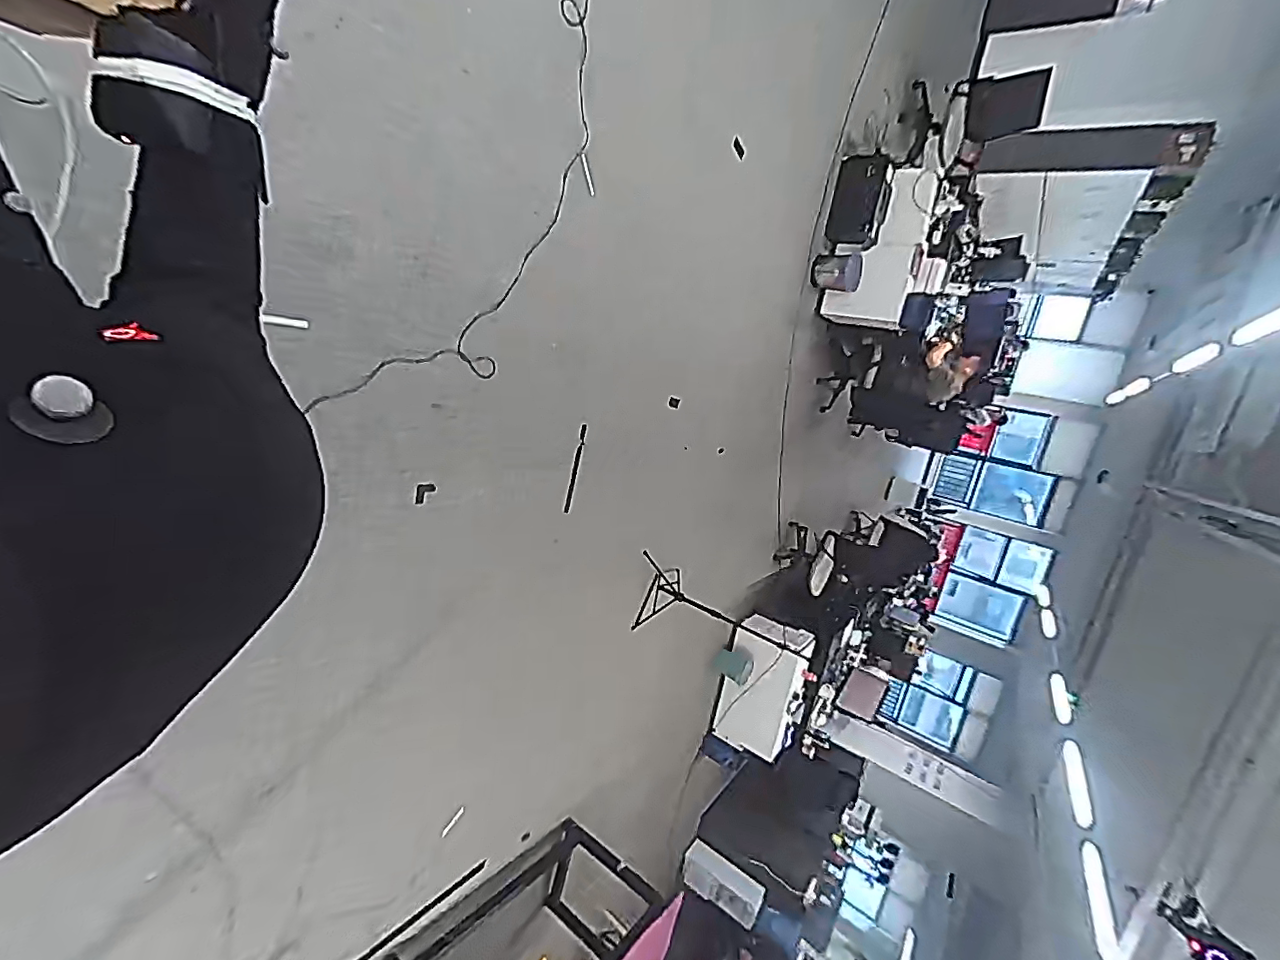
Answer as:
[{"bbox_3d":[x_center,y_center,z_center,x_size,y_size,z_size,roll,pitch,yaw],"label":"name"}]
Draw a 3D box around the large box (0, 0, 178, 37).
[{"bbox_3d":[-0.486,-0.471,0.215,0.408,0.320,0.320,-8,122,-59],"label":"large box"}]
